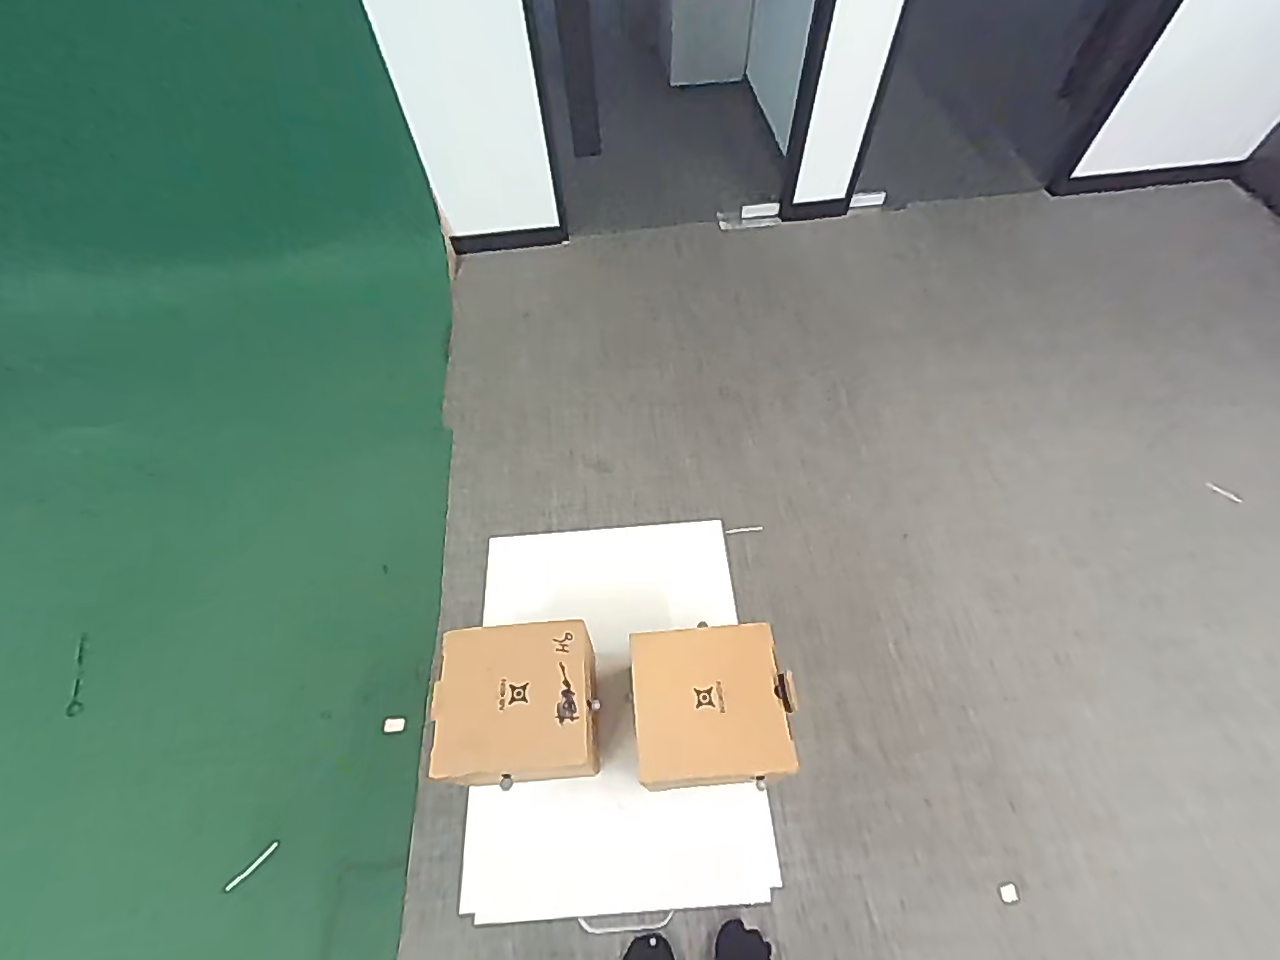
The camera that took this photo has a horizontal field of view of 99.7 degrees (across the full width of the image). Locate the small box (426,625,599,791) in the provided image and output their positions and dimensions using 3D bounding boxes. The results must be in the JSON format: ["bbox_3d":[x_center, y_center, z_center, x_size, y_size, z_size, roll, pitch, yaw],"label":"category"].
[{"bbox_3d":[-0.149,0.298,0.696,0.179,0.176,0.168,-4,58,-1],"label":"small box"}]
